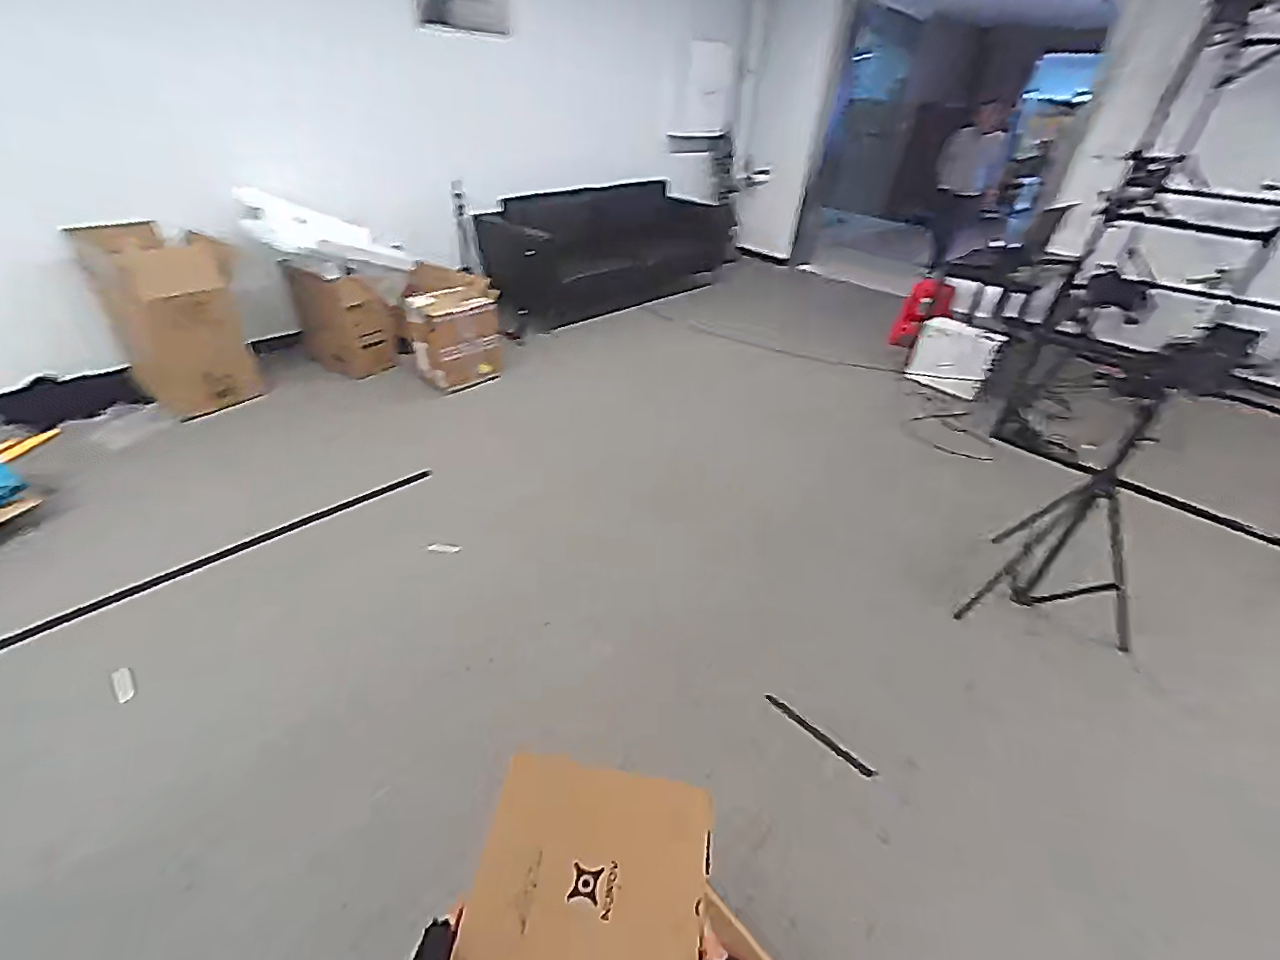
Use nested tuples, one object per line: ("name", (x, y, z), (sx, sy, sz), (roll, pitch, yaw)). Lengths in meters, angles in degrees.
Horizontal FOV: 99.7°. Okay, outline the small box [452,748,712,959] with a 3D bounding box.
("small box", (-0.041, 0.357, 0.462), (0.179, 0.176, 0.168), (8, 43, 2))
